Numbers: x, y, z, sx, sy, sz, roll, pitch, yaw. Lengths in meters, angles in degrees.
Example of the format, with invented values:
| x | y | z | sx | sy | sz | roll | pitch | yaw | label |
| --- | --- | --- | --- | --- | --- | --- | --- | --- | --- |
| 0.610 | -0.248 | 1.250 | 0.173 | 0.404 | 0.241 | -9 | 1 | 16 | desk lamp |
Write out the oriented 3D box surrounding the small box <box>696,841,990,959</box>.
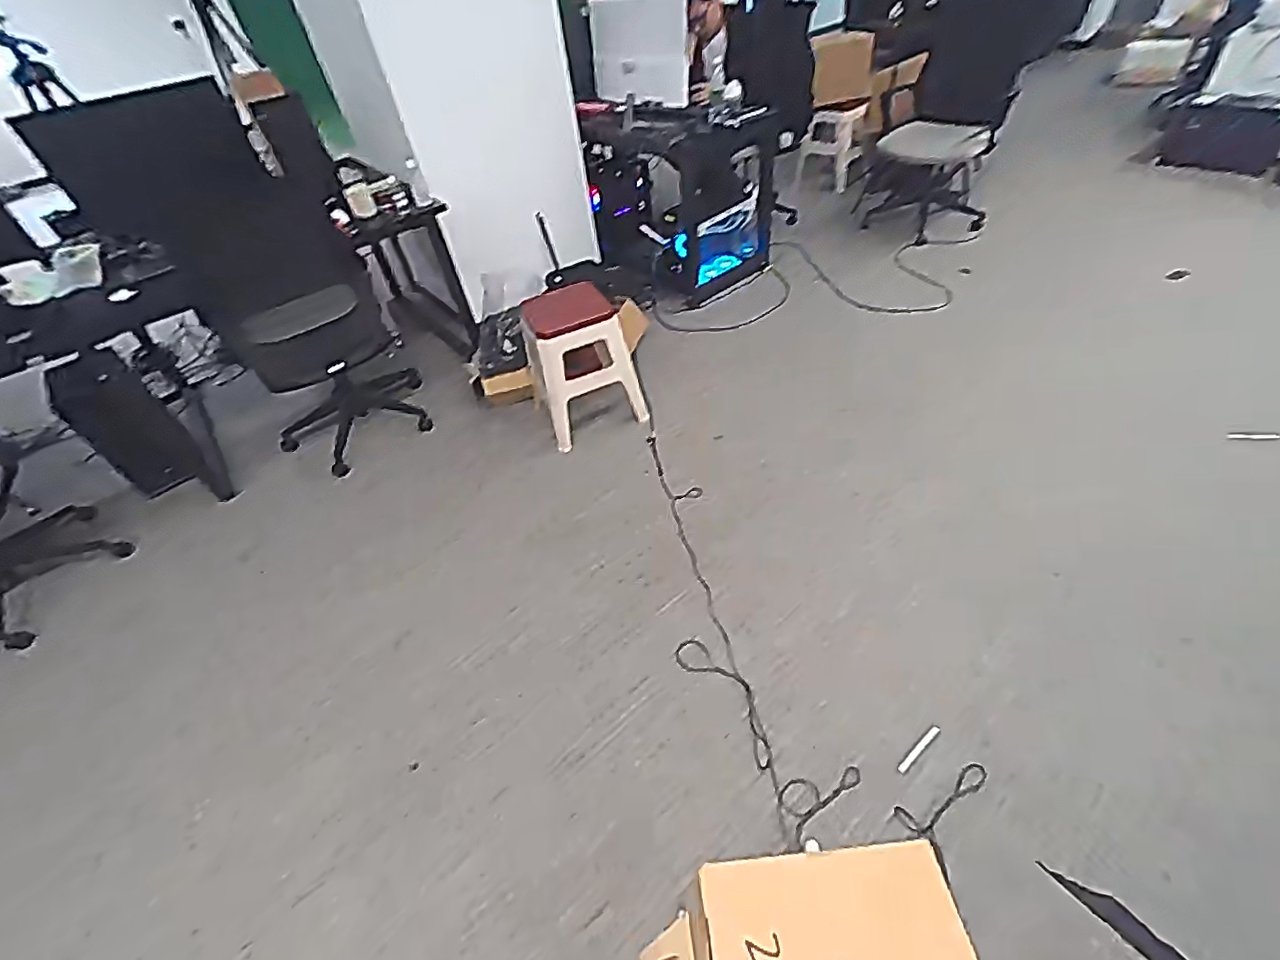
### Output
| x | y | z | sx | sy | sz | roll | pitch | yaw | label |
| --- | --- | --- | --- | --- | --- | --- | --- | --- | --- |
| 0.140 | 0.380 | 0.385 | 0.179 | 0.176 | 0.168 | -4 | 42 | -2 | small box |
